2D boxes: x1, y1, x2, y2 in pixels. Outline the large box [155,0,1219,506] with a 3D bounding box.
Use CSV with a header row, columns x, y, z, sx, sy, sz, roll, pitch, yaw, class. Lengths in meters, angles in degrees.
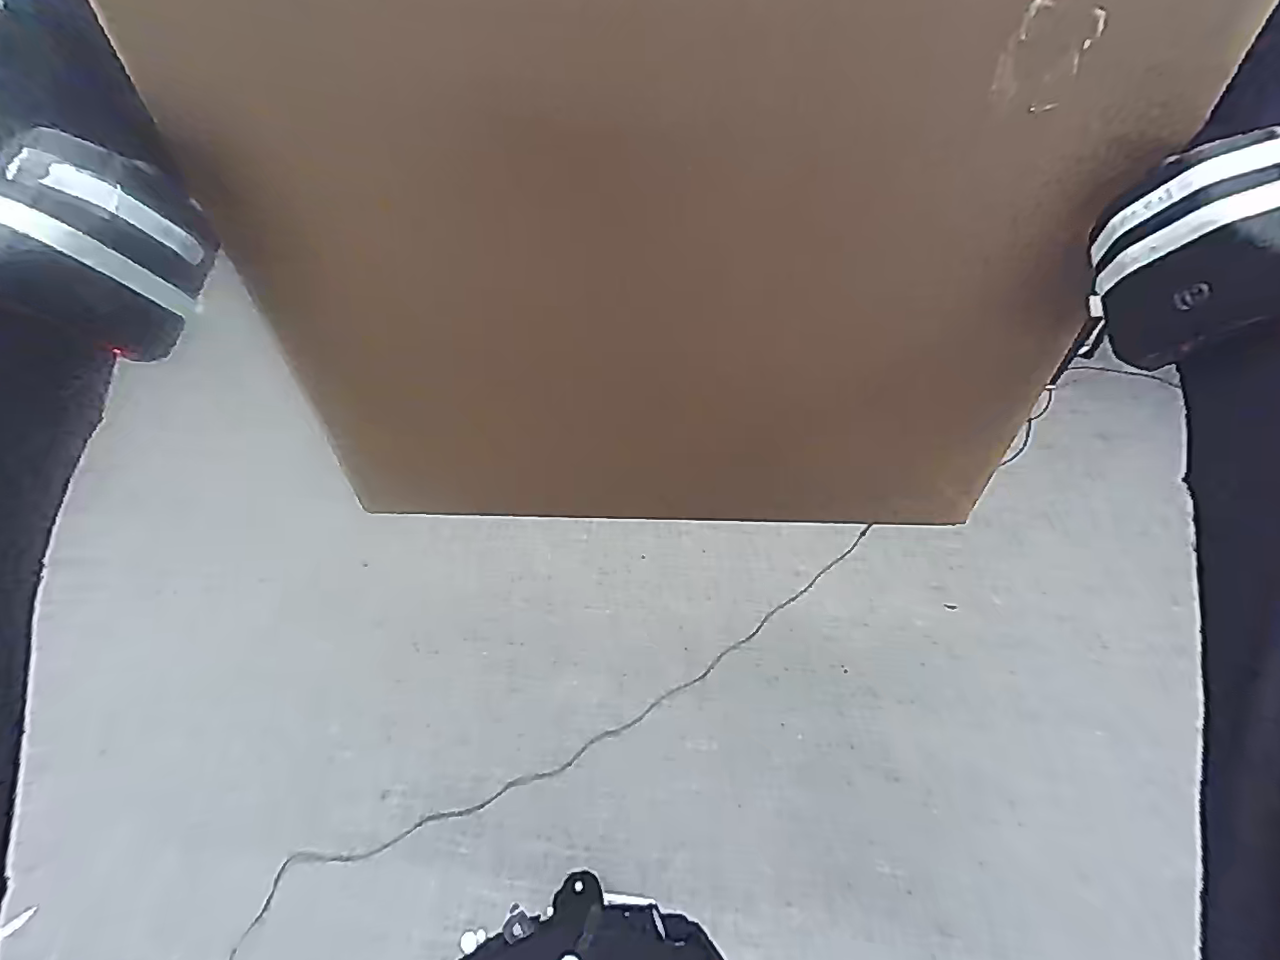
x,y,z,sx,sy,sz,roll,pitch,yaw,class
0.016,-0.193,0.382,0.408,0.320,0.320,1,44,1,large box
